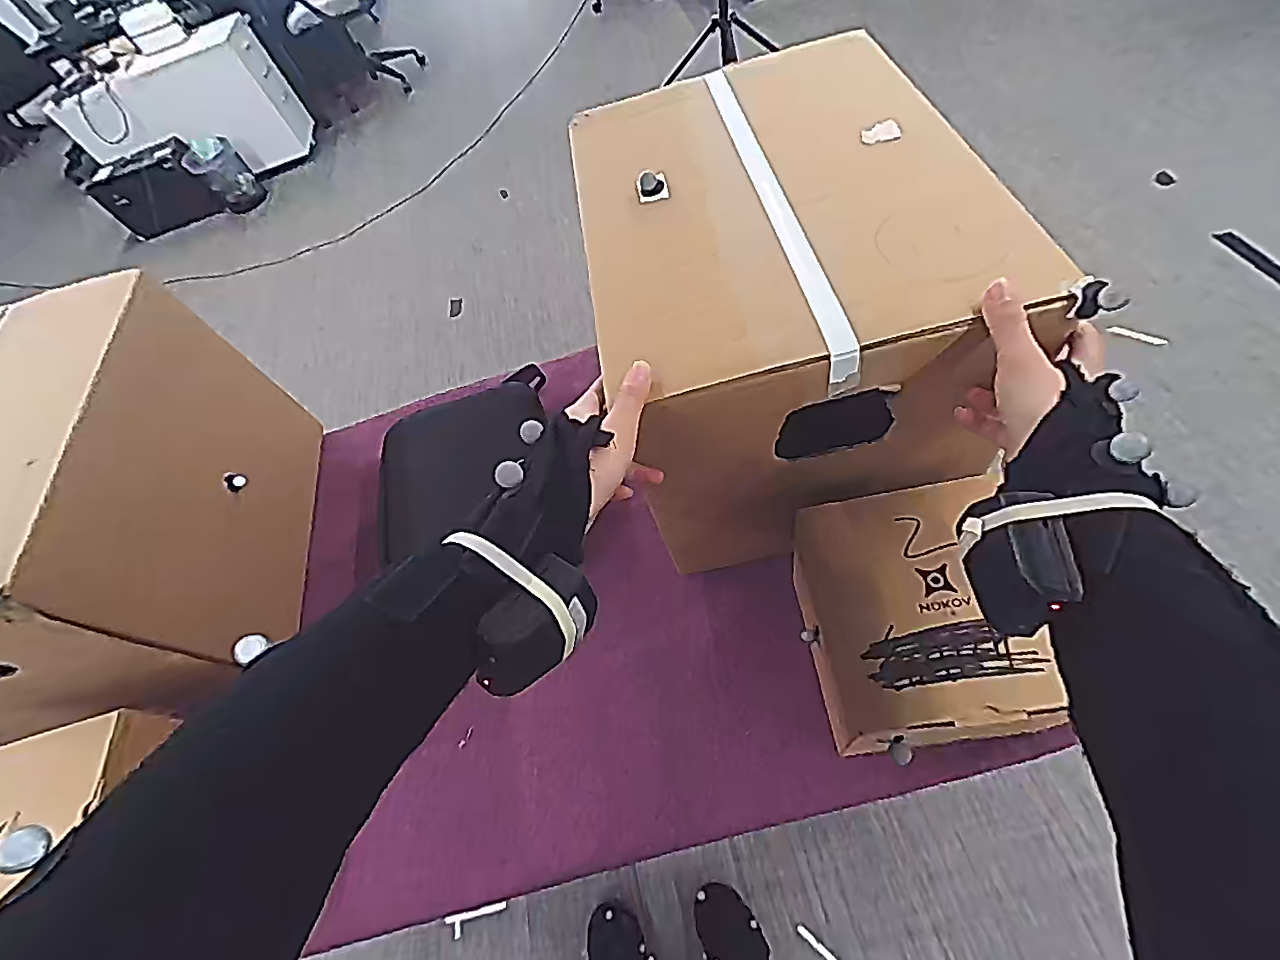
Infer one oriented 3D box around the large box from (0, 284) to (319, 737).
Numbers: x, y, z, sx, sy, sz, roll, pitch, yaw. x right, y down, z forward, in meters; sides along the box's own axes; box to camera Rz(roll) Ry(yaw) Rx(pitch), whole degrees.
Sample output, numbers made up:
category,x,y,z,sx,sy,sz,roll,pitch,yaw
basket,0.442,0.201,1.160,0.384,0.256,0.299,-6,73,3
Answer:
category,x,y,z,sx,sy,sz,roll,pitch,yaw
large box,-0.637,0.050,0.652,0.320,0.320,0.408,-17,60,2
